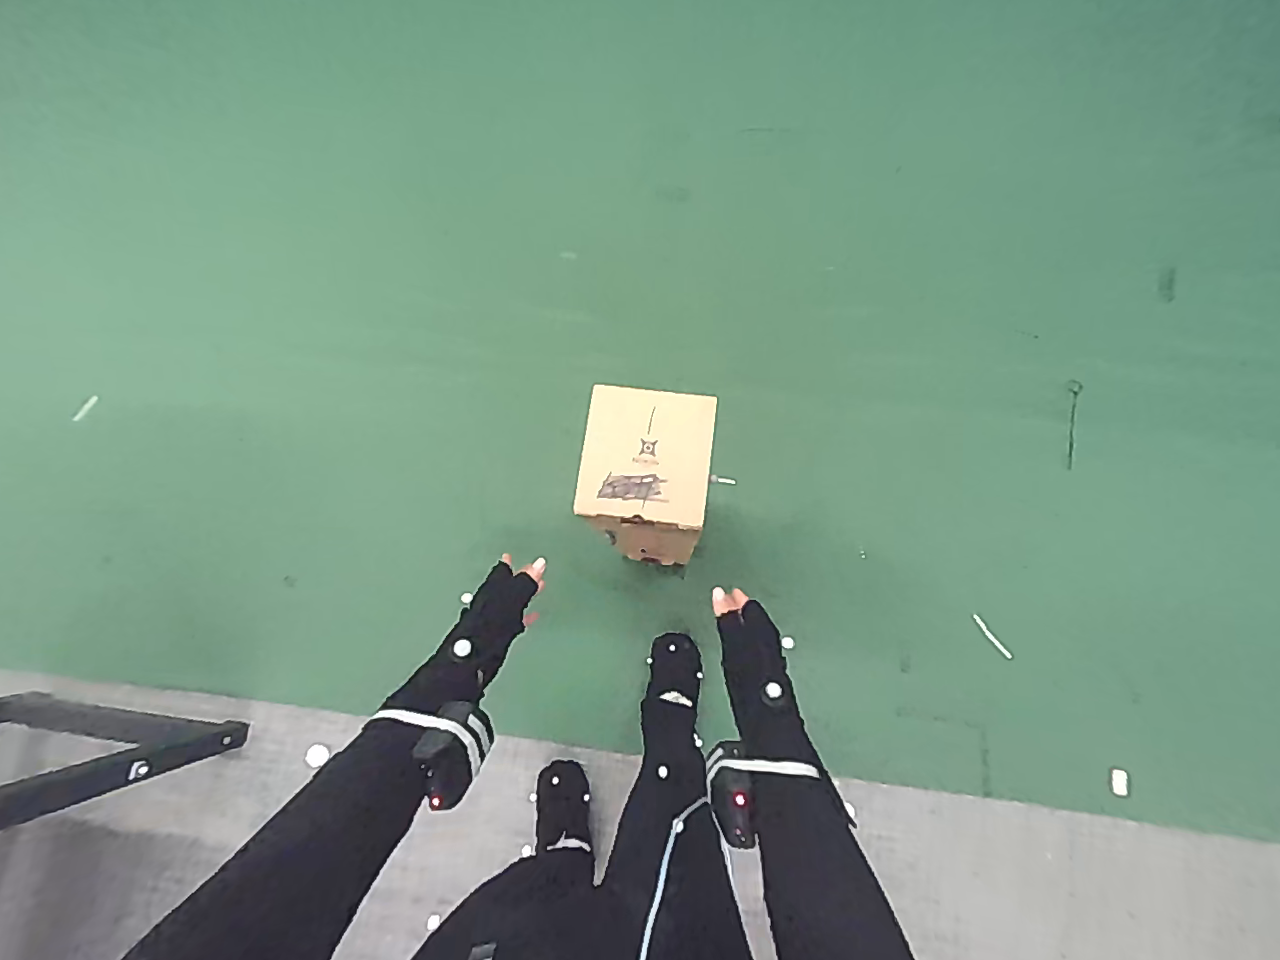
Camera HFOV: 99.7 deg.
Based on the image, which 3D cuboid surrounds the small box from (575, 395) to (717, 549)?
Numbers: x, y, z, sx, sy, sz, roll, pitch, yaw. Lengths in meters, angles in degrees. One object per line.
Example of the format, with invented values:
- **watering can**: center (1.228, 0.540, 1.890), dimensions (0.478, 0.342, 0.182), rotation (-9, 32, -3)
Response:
- **small box**: center (0.014, -0.002, 0.768), dimensions (0.168, 0.176, 0.179), rotation (7, 77, 5)

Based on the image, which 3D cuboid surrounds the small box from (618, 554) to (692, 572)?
- **small box**: center (0.045, 0.109, 1.246), dimensions (0.168, 0.176, 0.179), rotation (8, 77, 6)

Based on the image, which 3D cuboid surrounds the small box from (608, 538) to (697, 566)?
- **small box**: center (0.034, 0.071, 1.089), dimensions (0.168, 0.176, 0.179), rotation (6, 78, 5)
